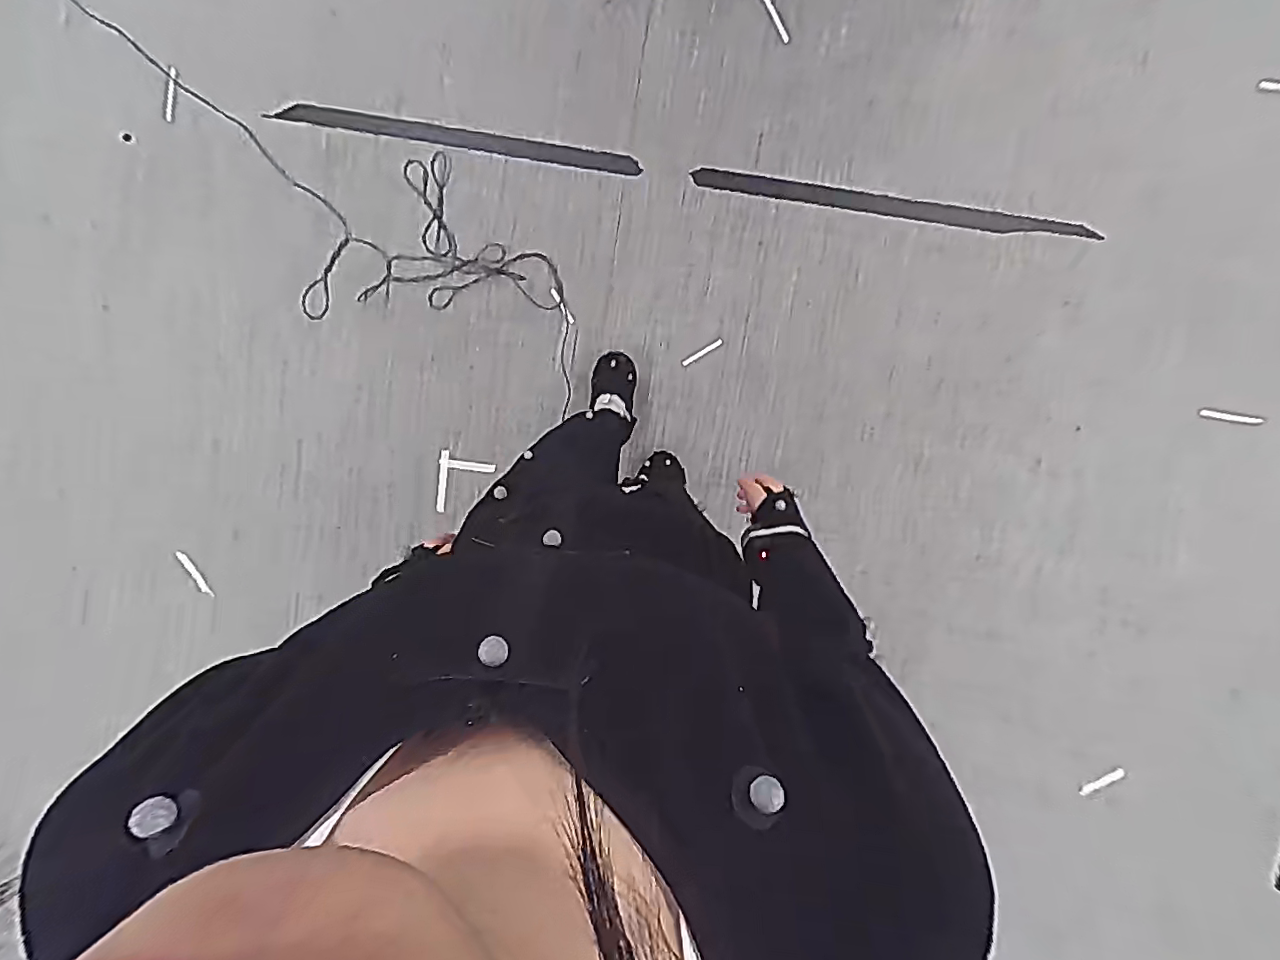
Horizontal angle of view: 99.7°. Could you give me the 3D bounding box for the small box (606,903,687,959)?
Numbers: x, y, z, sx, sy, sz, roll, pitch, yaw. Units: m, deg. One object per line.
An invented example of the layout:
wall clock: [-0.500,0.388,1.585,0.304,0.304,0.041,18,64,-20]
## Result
small box: [-0.022,0.820,0.858,0.168,0.176,0.179,13,95,3]

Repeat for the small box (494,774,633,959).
small box: [-0.109,0.601,0.848,0.168,0.176,0.179,14,95,2]
